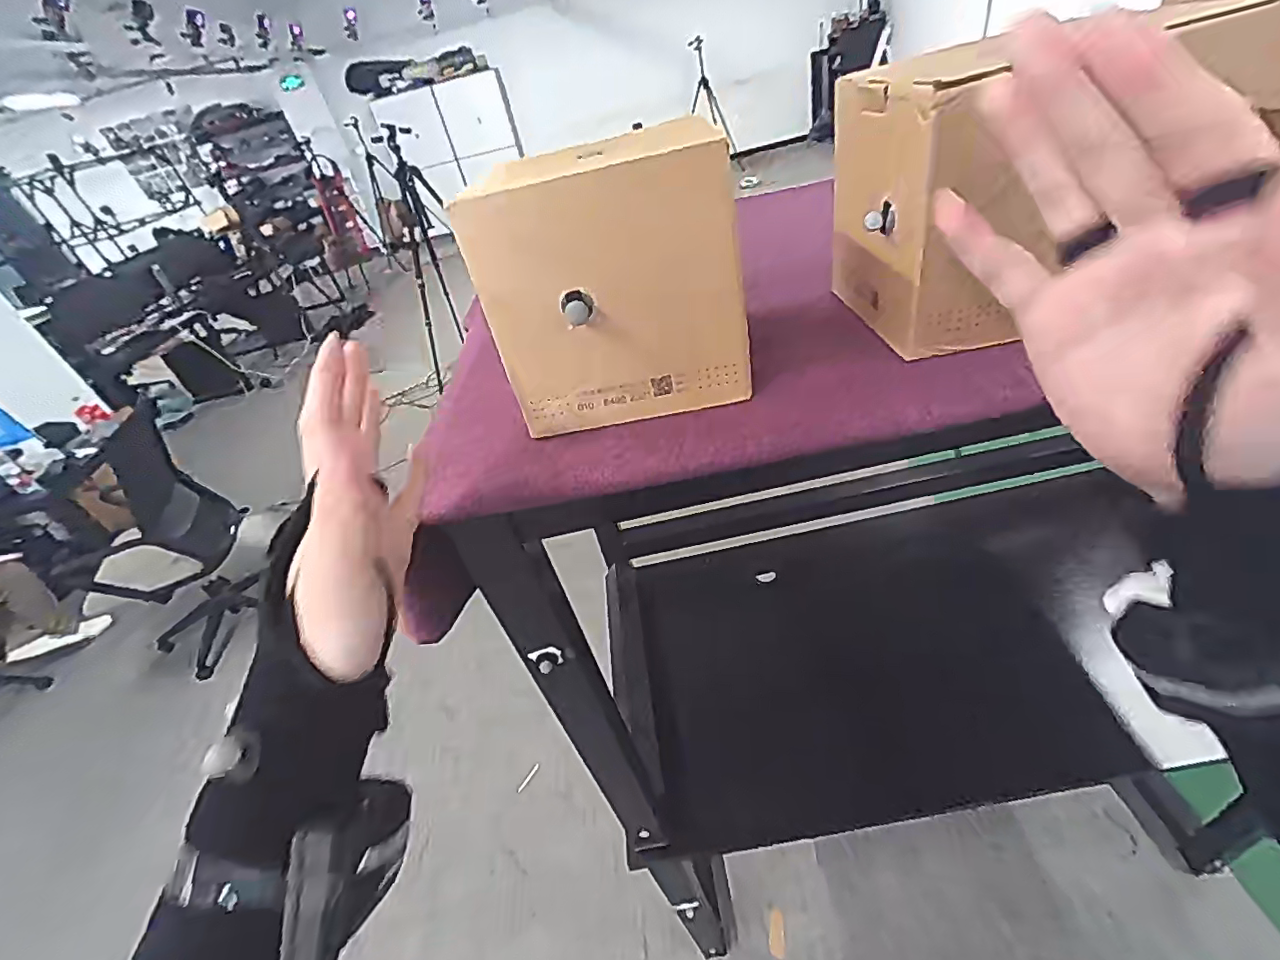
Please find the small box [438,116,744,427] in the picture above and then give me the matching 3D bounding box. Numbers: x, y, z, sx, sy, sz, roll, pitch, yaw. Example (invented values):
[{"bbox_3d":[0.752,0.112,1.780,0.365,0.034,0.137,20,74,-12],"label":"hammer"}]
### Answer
[{"bbox_3d":[-0.021,-0.153,0.413,0.168,0.176,0.179,-10,36,7],"label":"small box"}]
